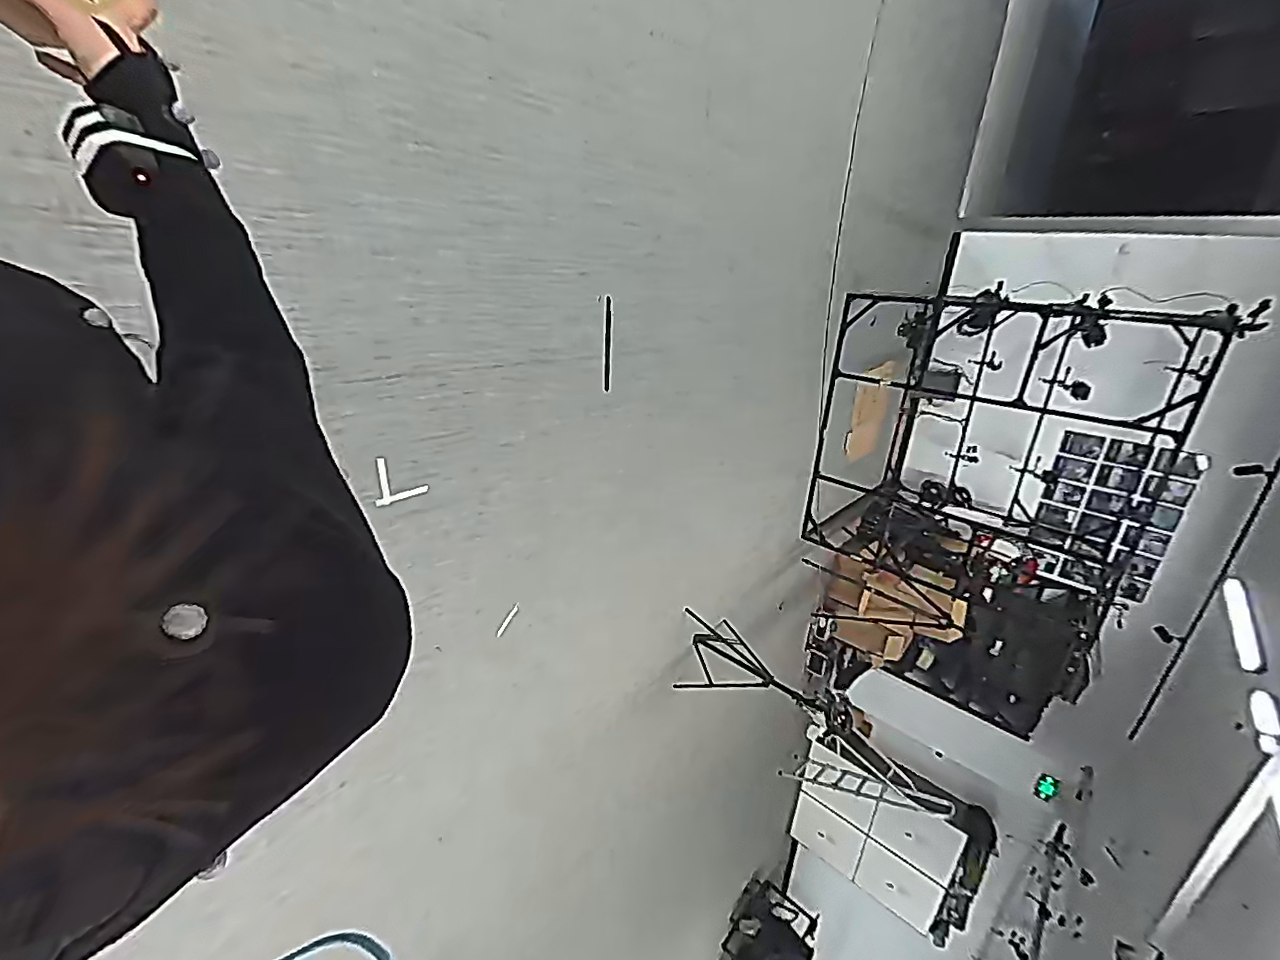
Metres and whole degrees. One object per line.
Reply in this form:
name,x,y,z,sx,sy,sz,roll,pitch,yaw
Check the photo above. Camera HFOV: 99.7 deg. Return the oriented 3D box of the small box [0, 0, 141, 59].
small box,-0.532,-0.492,0.437,0.168,0.176,0.179,-65,154,-4
